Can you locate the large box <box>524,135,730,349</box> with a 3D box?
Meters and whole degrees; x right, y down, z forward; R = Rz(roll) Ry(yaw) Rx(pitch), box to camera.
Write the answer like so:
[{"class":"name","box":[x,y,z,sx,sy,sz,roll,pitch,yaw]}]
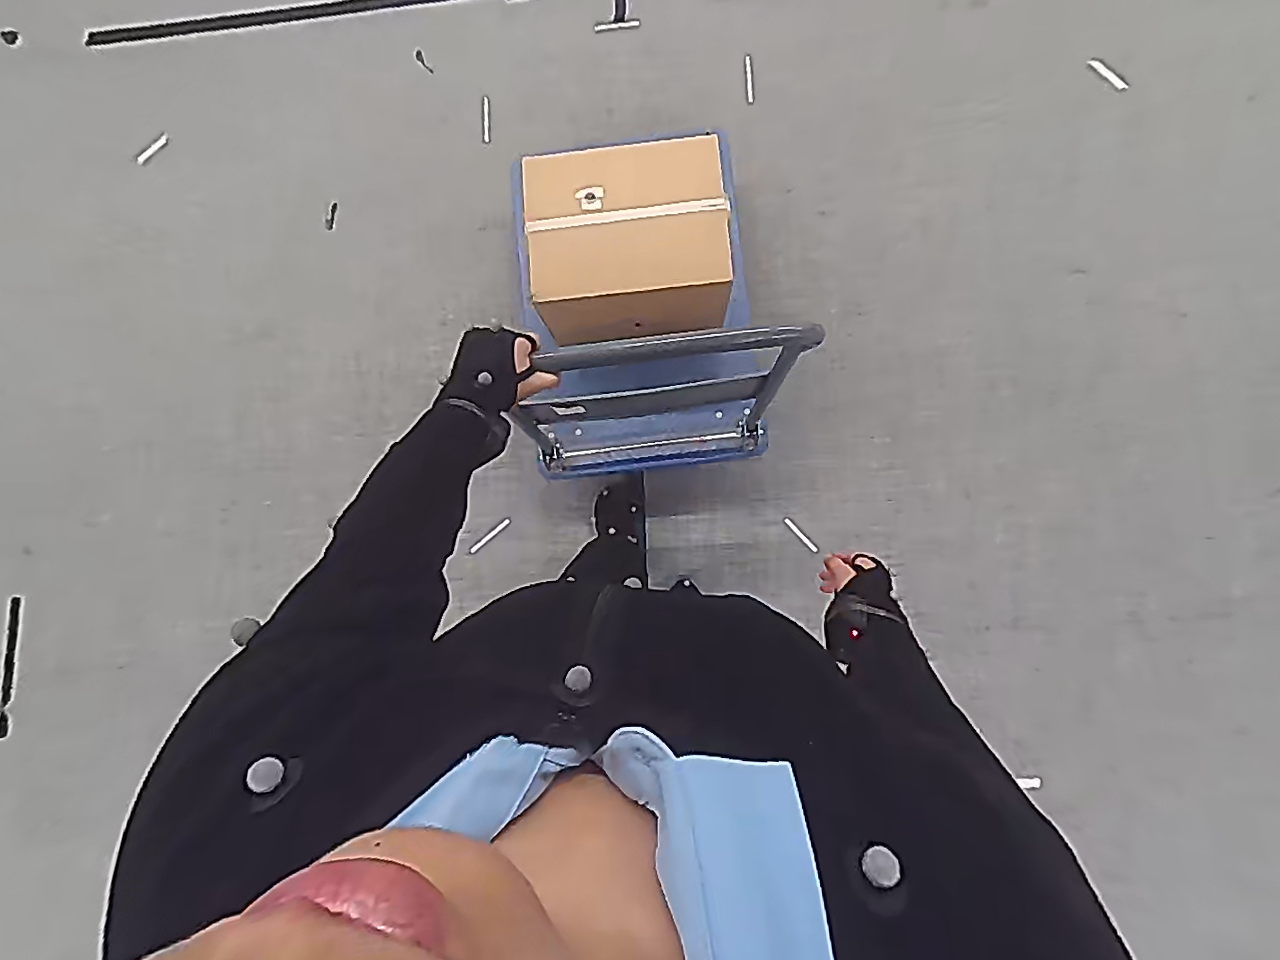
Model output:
[{"class":"large box","box":[-0.019,-0.517,1.243,0.408,0.320,0.320,-6,83,4]}]
